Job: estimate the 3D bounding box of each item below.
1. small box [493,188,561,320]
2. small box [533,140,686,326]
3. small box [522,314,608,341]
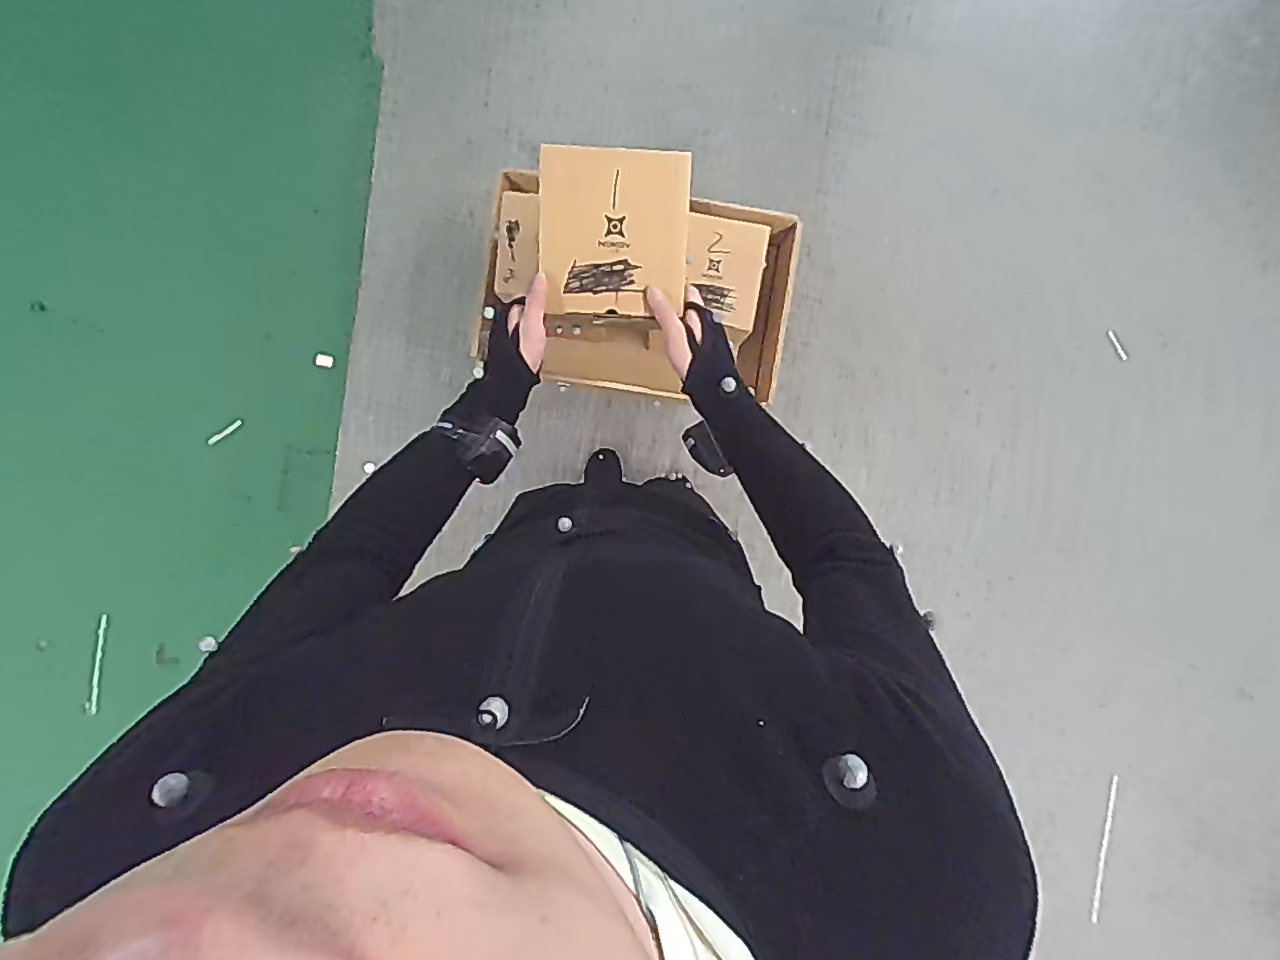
[{"bbox_3d":[-0.148,-0.388,0.961,0.179,0.176,0.168,6,93,-1],"label":"small box"},{"bbox_3d":[-0.038,-0.288,0.669,0.168,0.176,0.179,1,101,-3],"label":"small box"},{"bbox_3d":[-0.150,-0.396,1.125,0.179,0.176,0.168,8,92,-2],"label":"small box"}]
